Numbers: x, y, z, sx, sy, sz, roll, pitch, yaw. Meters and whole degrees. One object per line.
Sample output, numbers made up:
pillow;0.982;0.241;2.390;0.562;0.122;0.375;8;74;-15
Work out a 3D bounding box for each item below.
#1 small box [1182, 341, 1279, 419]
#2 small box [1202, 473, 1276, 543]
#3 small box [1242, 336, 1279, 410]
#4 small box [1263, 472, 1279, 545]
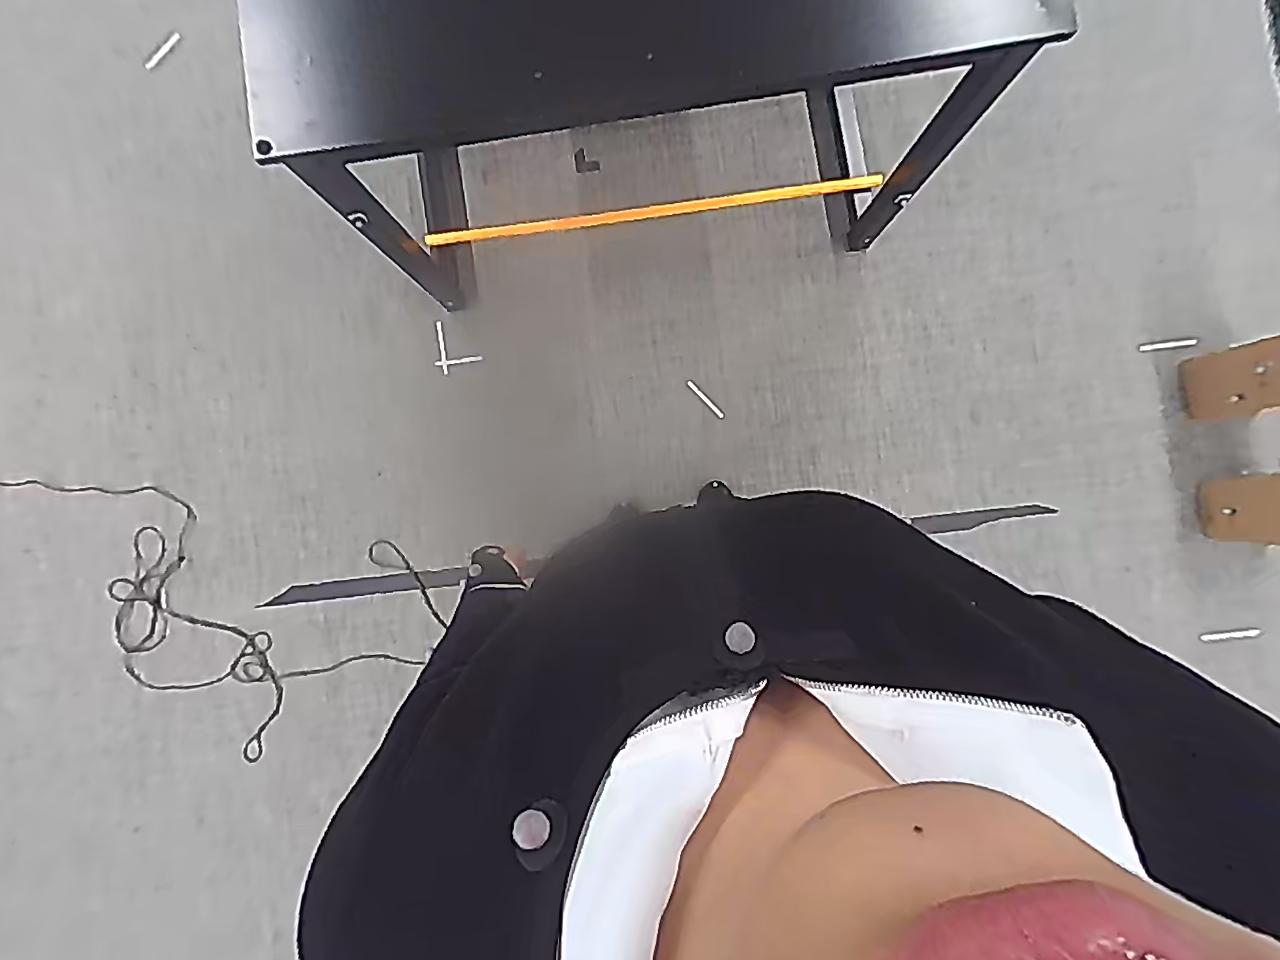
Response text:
small box;1.565;-0.257;1.391;0.168;0.176;0.179;-9;88;1
small box;1.604;0.069;1.386;0.179;0.176;0.168;-6;89;2
small box;1.556;-0.263;1.228;0.179;0.176;0.168;-9;87;2
small box;1.582;0.058;1.221;0.168;0.176;0.179;-8;89;2
